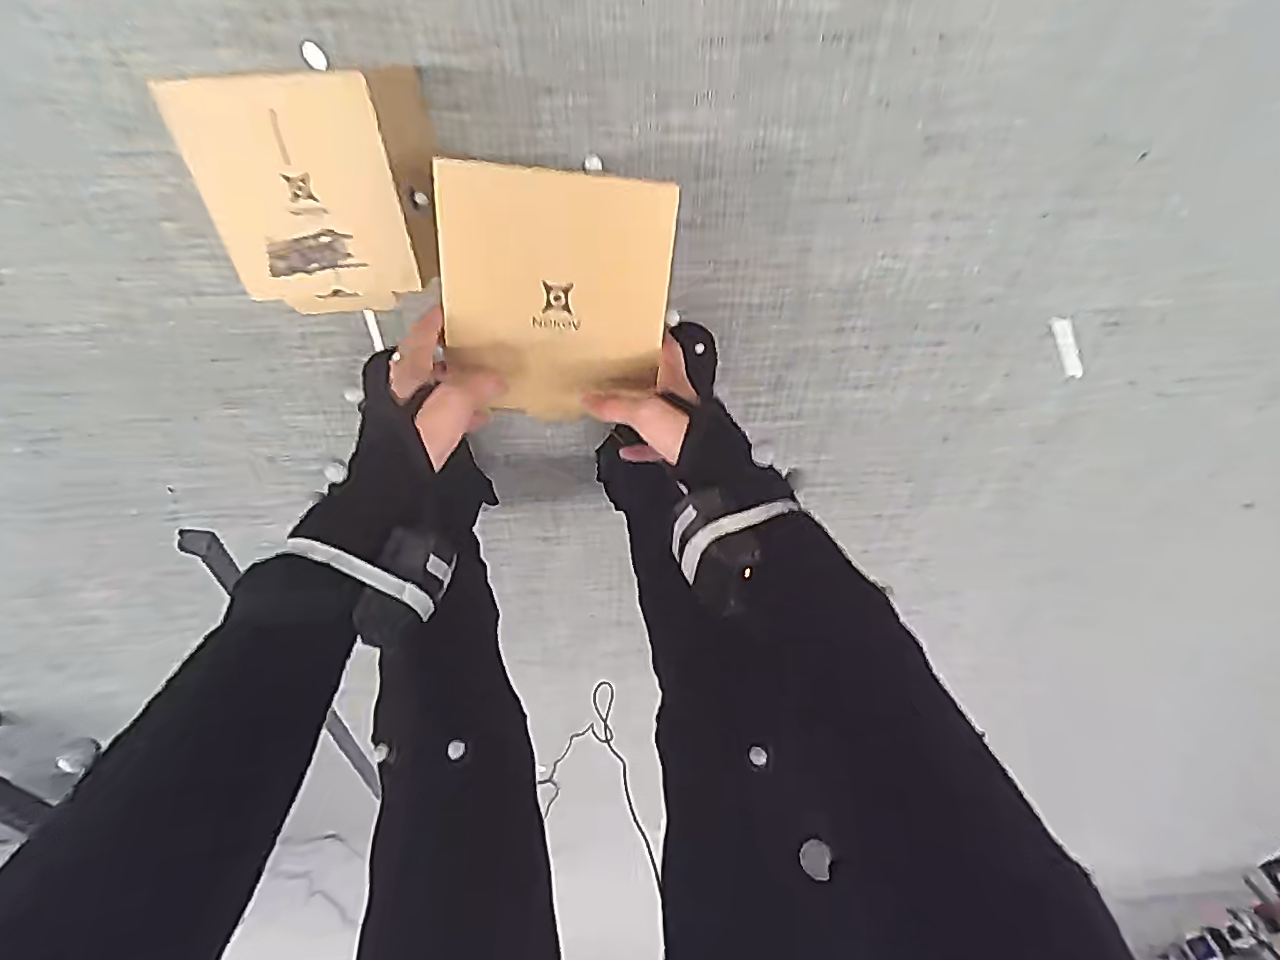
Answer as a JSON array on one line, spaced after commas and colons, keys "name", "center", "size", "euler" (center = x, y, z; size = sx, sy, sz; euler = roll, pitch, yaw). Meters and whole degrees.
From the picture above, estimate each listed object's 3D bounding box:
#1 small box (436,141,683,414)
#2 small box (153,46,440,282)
[{"name": "small box", "center": [-0.069, -0.173, 0.462], "size": [0.168, 0.176, 0.179], "euler": [3, 120, -8]}, {"name": "small box", "center": [-0.300, -0.314, 0.534], "size": [0.168, 0.176, 0.179], "euler": [-3, 130, -3]}]
